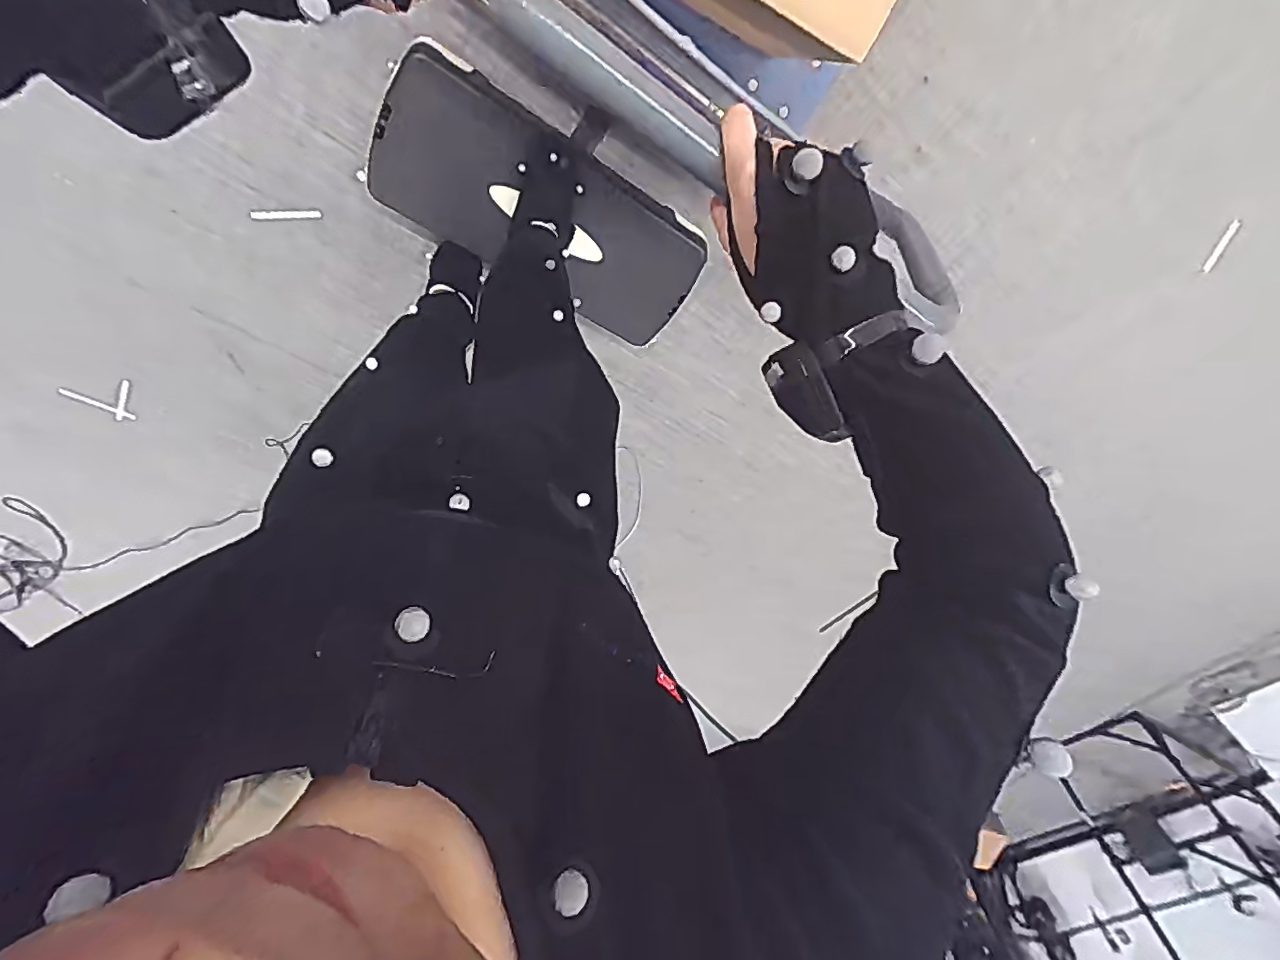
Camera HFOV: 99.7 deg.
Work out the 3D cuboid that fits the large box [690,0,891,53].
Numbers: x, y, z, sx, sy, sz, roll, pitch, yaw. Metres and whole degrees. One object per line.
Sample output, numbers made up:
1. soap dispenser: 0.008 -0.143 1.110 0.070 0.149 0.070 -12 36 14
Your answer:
1. large box: 0.114 -0.742 0.590 0.408 0.320 0.320 14 126 -21
